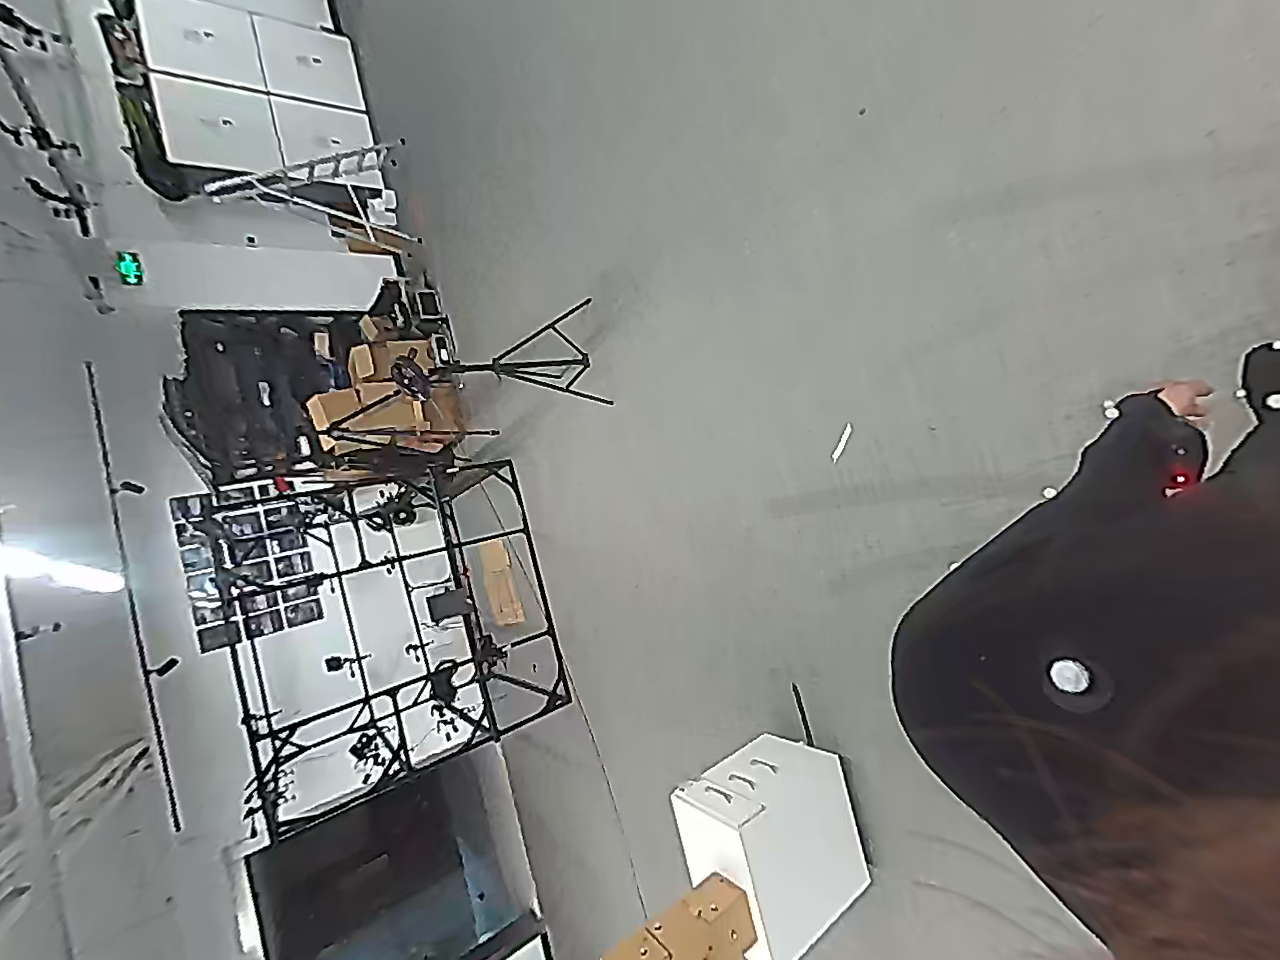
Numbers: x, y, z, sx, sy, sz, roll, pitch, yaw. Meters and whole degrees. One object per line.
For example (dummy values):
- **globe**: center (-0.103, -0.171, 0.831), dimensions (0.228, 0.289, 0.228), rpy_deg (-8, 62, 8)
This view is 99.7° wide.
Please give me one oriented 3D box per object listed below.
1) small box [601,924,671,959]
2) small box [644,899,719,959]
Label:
- **small box**: center (0.004, 1.556, 1.683), dimensions (0.168, 0.176, 0.179), rpy_deg (-15, 88, 57)
- **small box**: center (0.138, 1.534, 1.775), dimensions (0.179, 0.176, 0.168), rpy_deg (-13, 91, 57)
